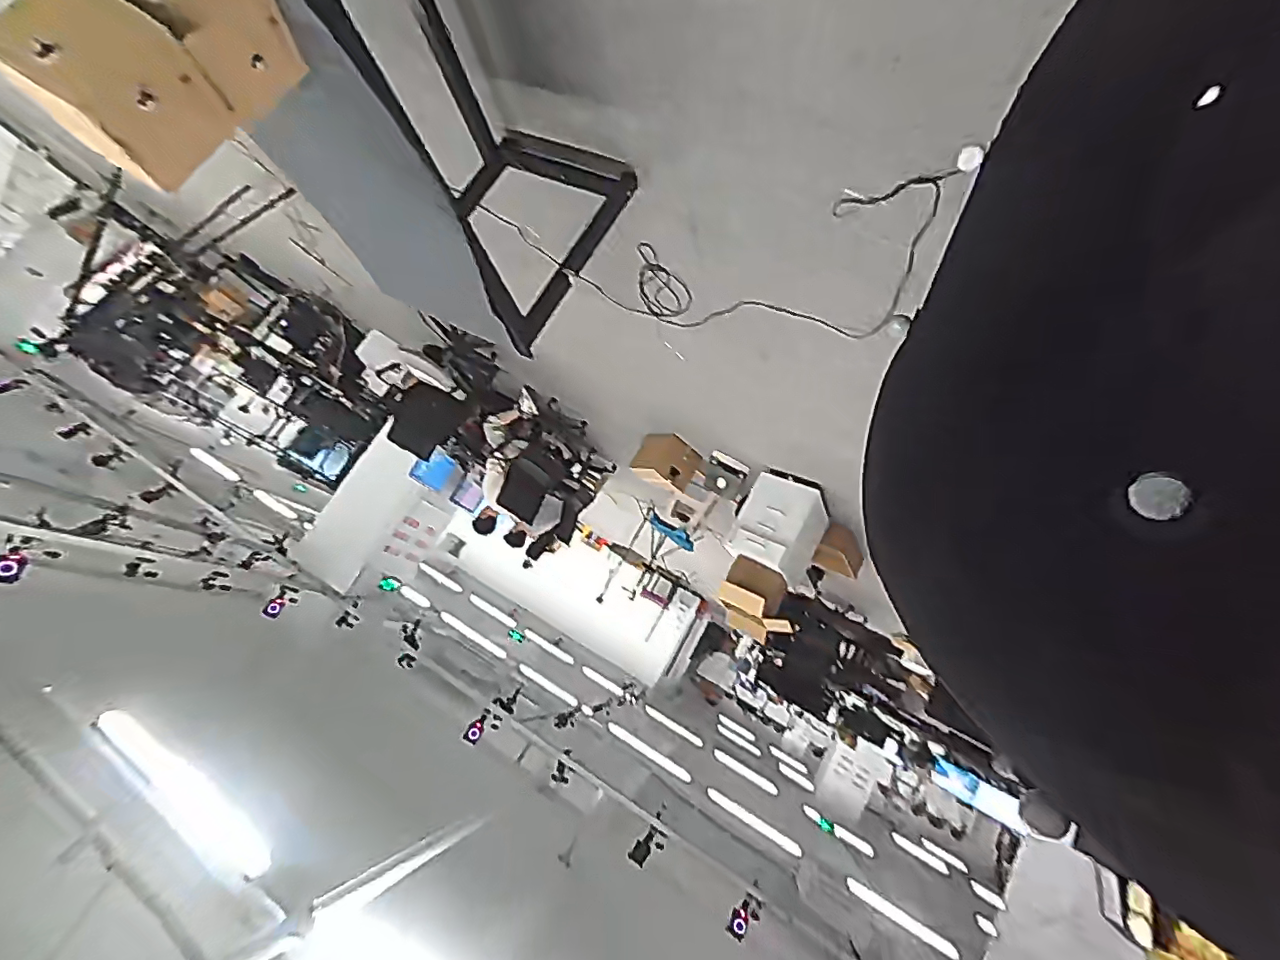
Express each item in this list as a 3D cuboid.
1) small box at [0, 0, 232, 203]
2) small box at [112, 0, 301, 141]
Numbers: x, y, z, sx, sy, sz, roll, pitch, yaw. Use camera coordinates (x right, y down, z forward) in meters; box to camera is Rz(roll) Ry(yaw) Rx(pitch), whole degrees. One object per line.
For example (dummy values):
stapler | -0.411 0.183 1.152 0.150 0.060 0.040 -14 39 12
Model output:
small box | -0.751 -0.561 0.791 0.179 0.176 0.168 32 167 2
small box | -0.674 -0.695 0.845 0.179 0.176 0.168 33 167 -3
